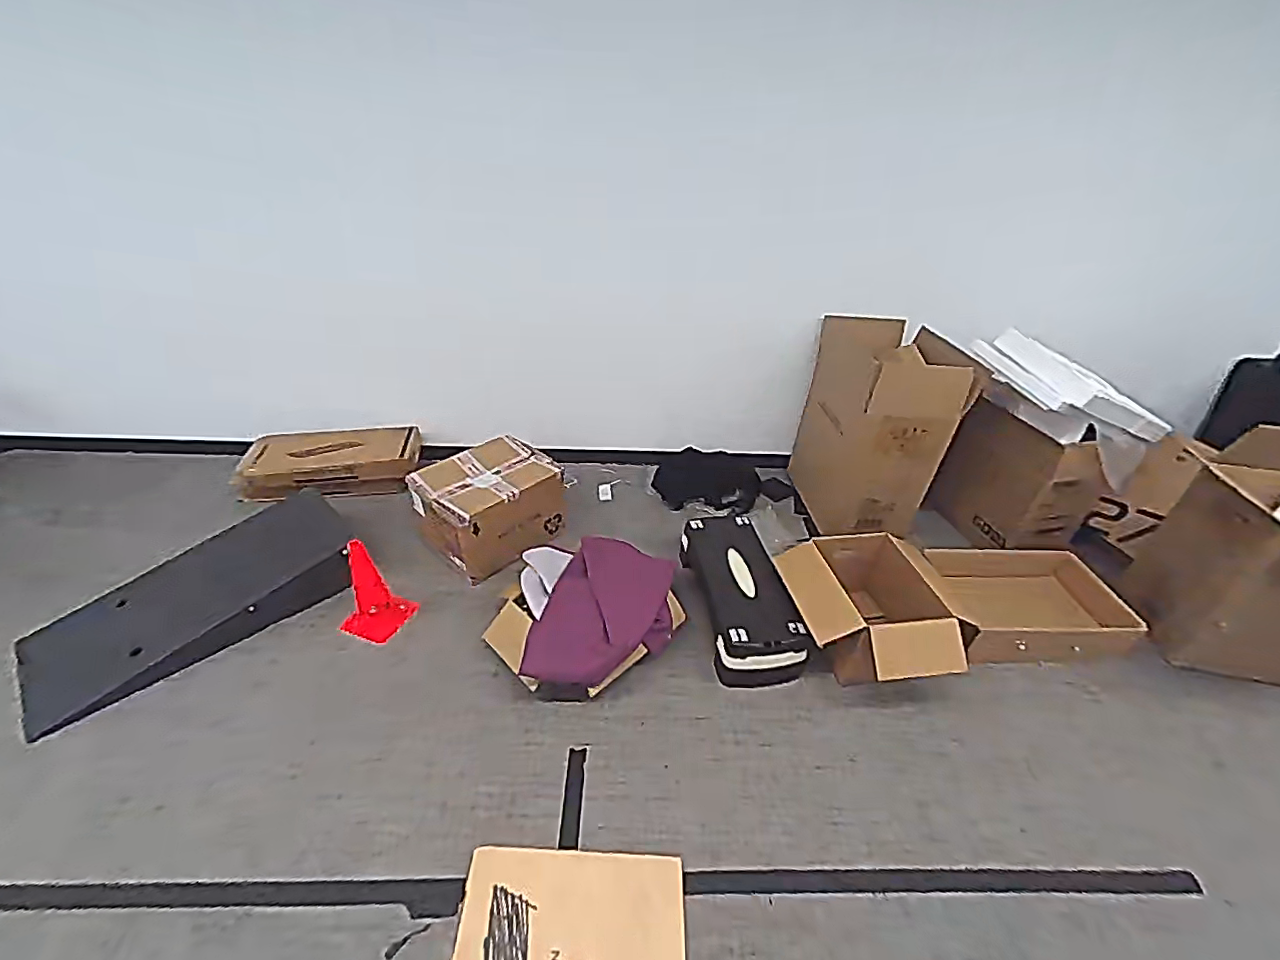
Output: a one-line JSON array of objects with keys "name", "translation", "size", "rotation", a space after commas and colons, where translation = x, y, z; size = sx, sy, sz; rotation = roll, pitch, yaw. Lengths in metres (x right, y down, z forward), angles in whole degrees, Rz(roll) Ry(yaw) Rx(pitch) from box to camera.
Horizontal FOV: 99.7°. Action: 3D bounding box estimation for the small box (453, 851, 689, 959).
[{"name": "small box", "translation": [-0.056, 0.426, 0.431], "size": [0.179, 0.176, 0.168], "rotation": [4, 35, -2]}]
